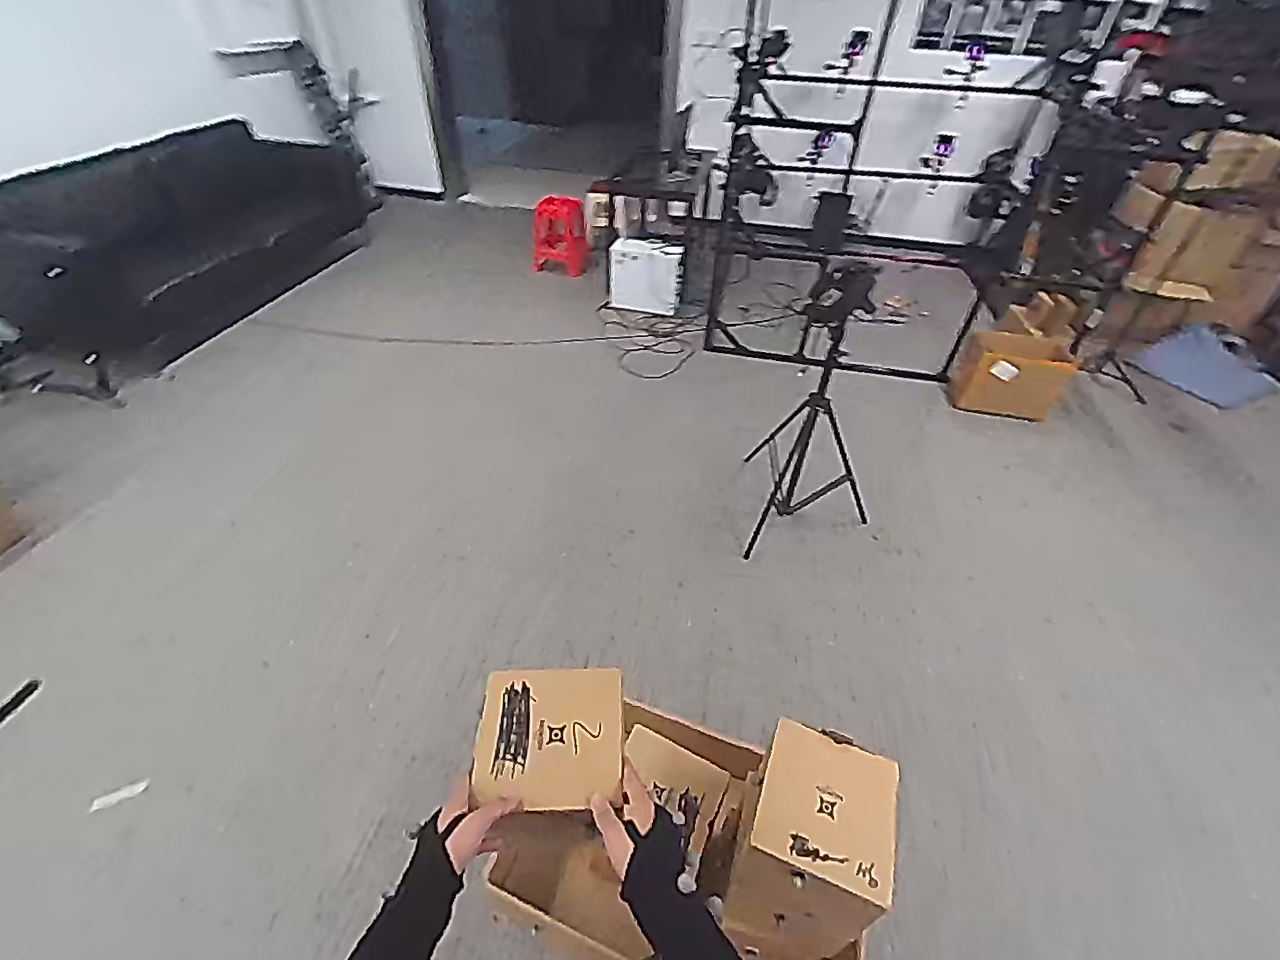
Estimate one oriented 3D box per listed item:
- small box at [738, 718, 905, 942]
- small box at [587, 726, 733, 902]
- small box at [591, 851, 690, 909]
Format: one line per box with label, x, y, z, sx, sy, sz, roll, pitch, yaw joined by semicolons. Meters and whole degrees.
small box;0.239;0.468;0.728;0.168;0.176;0.179;17;42;17
small box;0.030;0.546;0.881;0.179;0.176;0.168;21;45;18
small box;0.023;0.658;1.002;0.179;0.176;0.168;18;44;14
